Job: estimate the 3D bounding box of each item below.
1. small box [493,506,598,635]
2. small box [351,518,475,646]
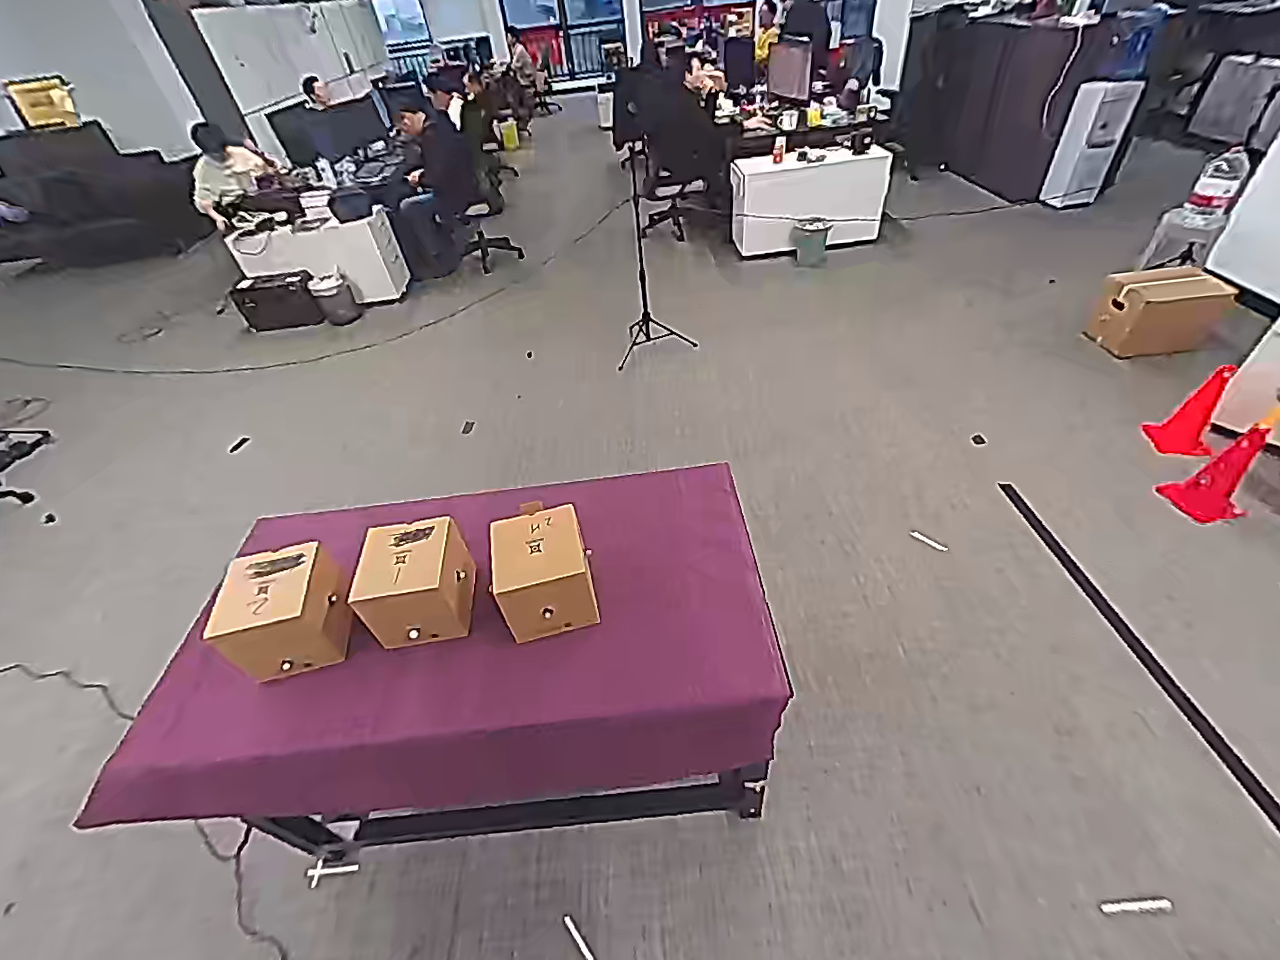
[{"bbox_3d":[-0.184,0.183,1.059,0.168,0.176,0.179,-12,43,-6],"label":"small box"},{"bbox_3d":[-0.436,0.203,1.074,0.168,0.176,0.179,-9,43,-1],"label":"small box"}]
